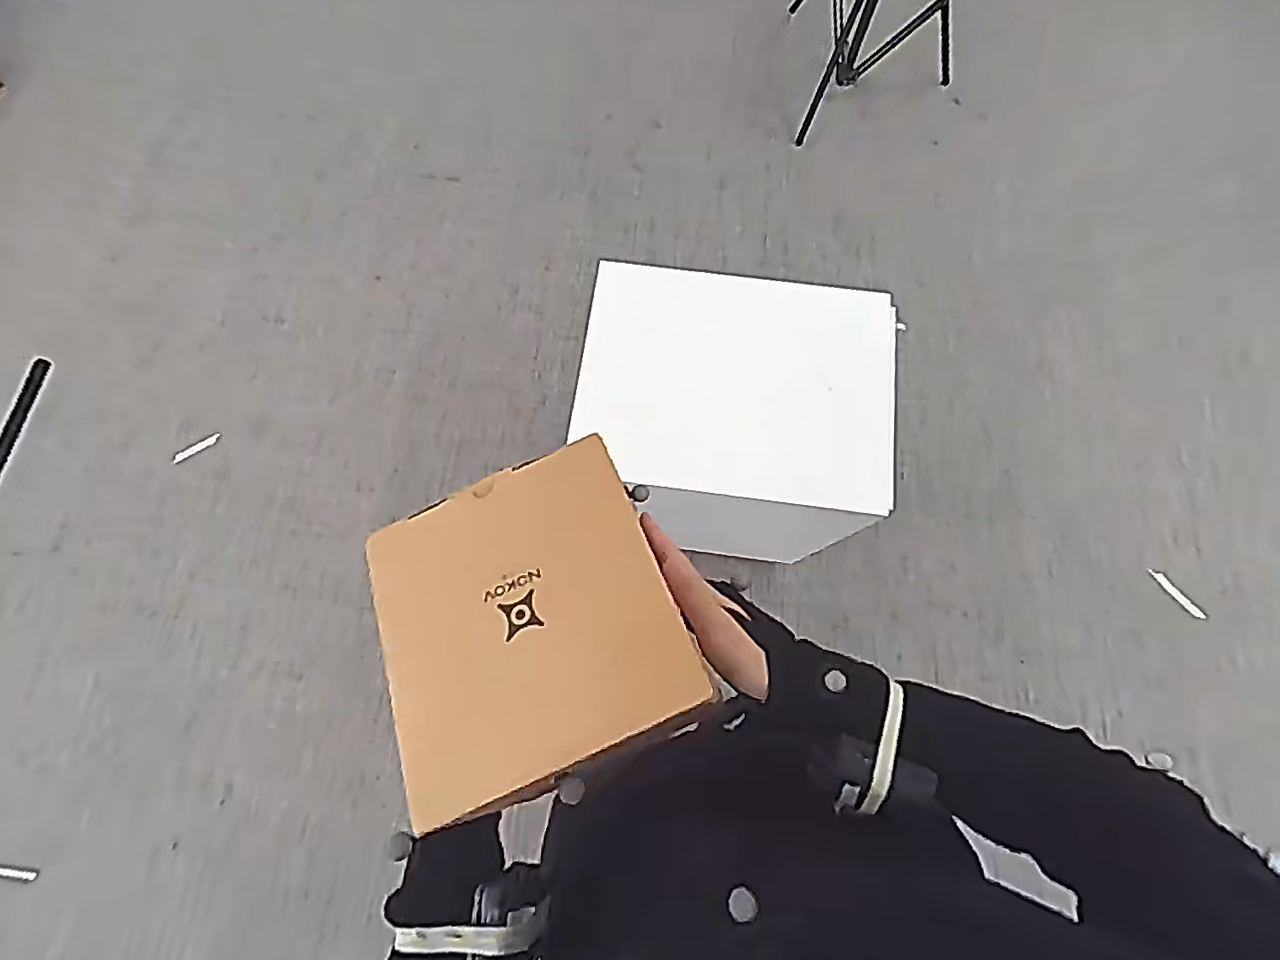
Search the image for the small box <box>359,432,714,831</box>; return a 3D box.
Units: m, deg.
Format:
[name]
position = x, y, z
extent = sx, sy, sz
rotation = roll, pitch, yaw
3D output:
[small box]
position = -0.058, 0.104, 0.375
extent = 0.168, 0.176, 0.179
rotation = -25, 62, -2
